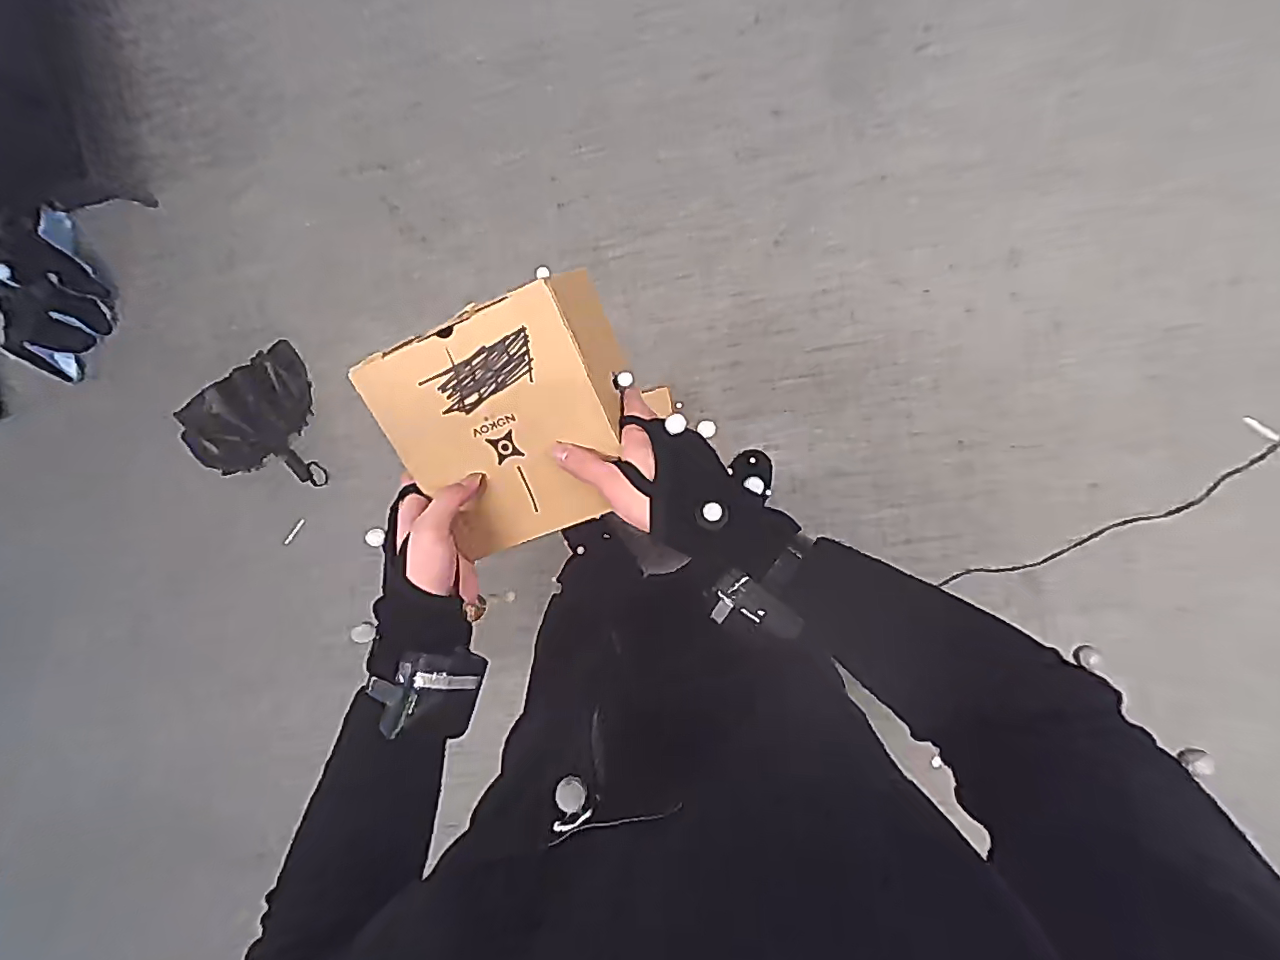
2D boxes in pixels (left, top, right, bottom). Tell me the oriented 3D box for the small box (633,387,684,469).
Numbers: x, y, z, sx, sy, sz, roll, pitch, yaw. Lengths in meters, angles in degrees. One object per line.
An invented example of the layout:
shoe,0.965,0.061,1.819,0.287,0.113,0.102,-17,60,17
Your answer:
small box,0.006,-0.118,1.307,0.168,0.176,0.179,-12,96,12

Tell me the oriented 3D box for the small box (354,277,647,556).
small box,-0.102,-0.066,0.485,0.168,0.176,0.179,-20,110,12
